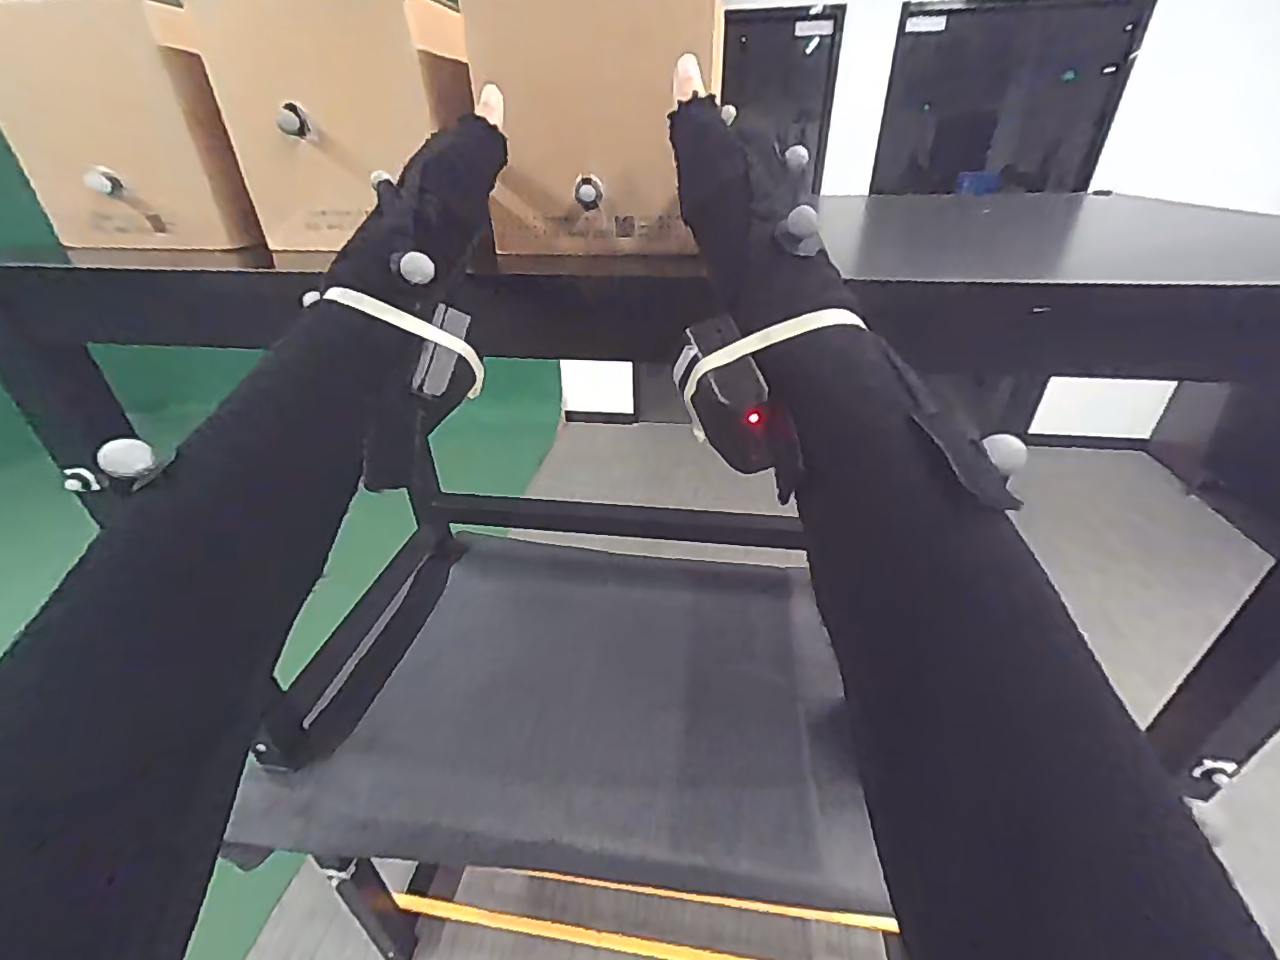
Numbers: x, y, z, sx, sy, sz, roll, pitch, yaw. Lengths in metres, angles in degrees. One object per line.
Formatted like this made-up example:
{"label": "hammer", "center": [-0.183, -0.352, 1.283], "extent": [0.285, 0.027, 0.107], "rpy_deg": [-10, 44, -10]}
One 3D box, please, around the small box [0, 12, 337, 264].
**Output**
{"label": "small box", "center": [-0.415, -0.307, 0.501], "extent": [0.168, 0.176, 0.179], "rpy_deg": [3, 33, 7]}
